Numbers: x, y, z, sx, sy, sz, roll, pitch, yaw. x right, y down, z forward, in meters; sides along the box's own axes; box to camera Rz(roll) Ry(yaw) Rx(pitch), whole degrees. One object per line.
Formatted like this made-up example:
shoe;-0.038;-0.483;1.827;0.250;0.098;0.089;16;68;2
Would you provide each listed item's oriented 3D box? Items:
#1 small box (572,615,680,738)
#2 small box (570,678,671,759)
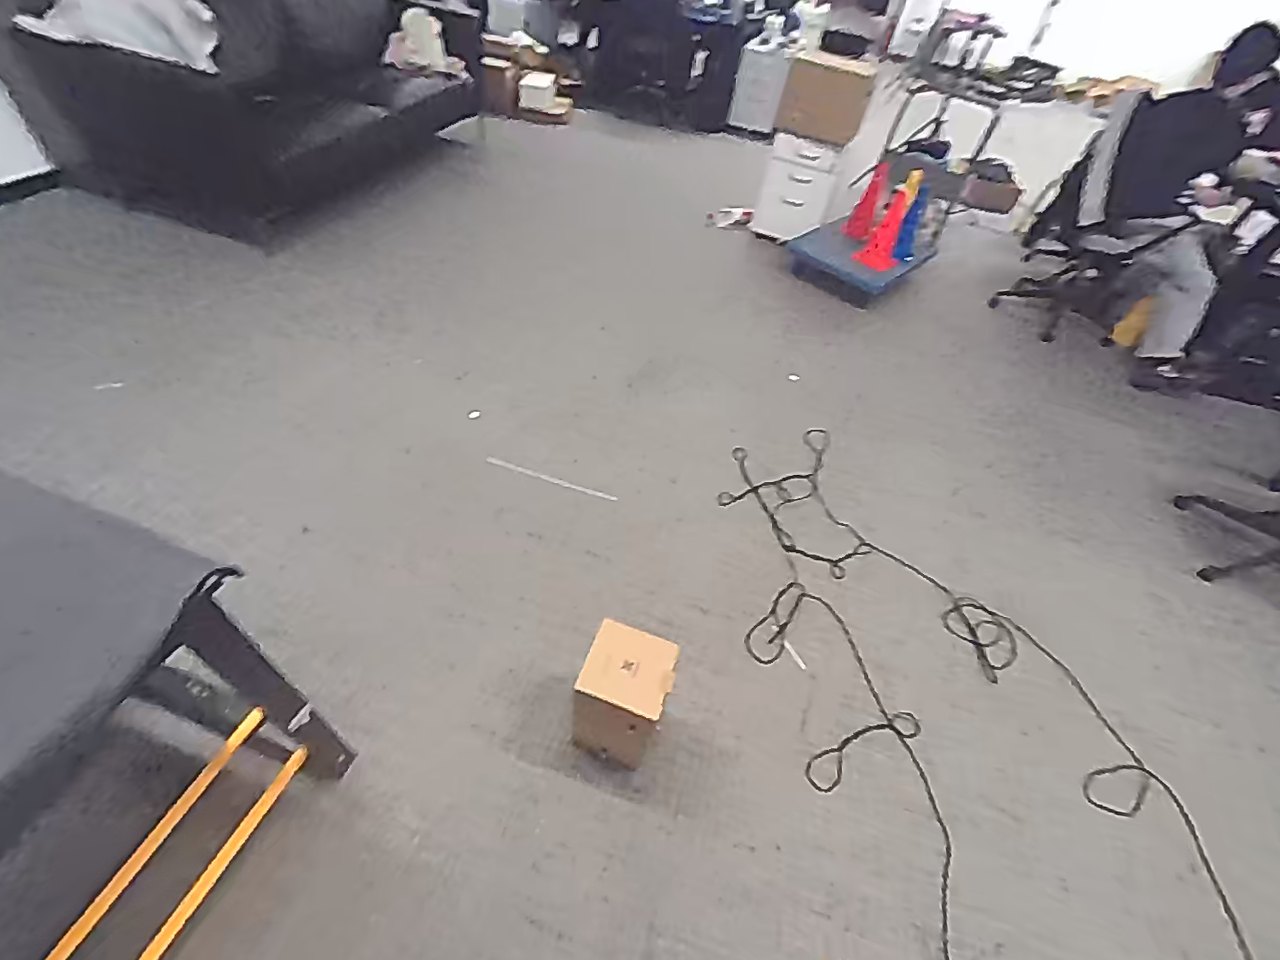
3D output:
small box;-0.032;0.420;1.142;0.179;0.176;0.168;18;47;8
small box;-0.049;0.526;1.263;0.179;0.176;0.168;22;47;8
